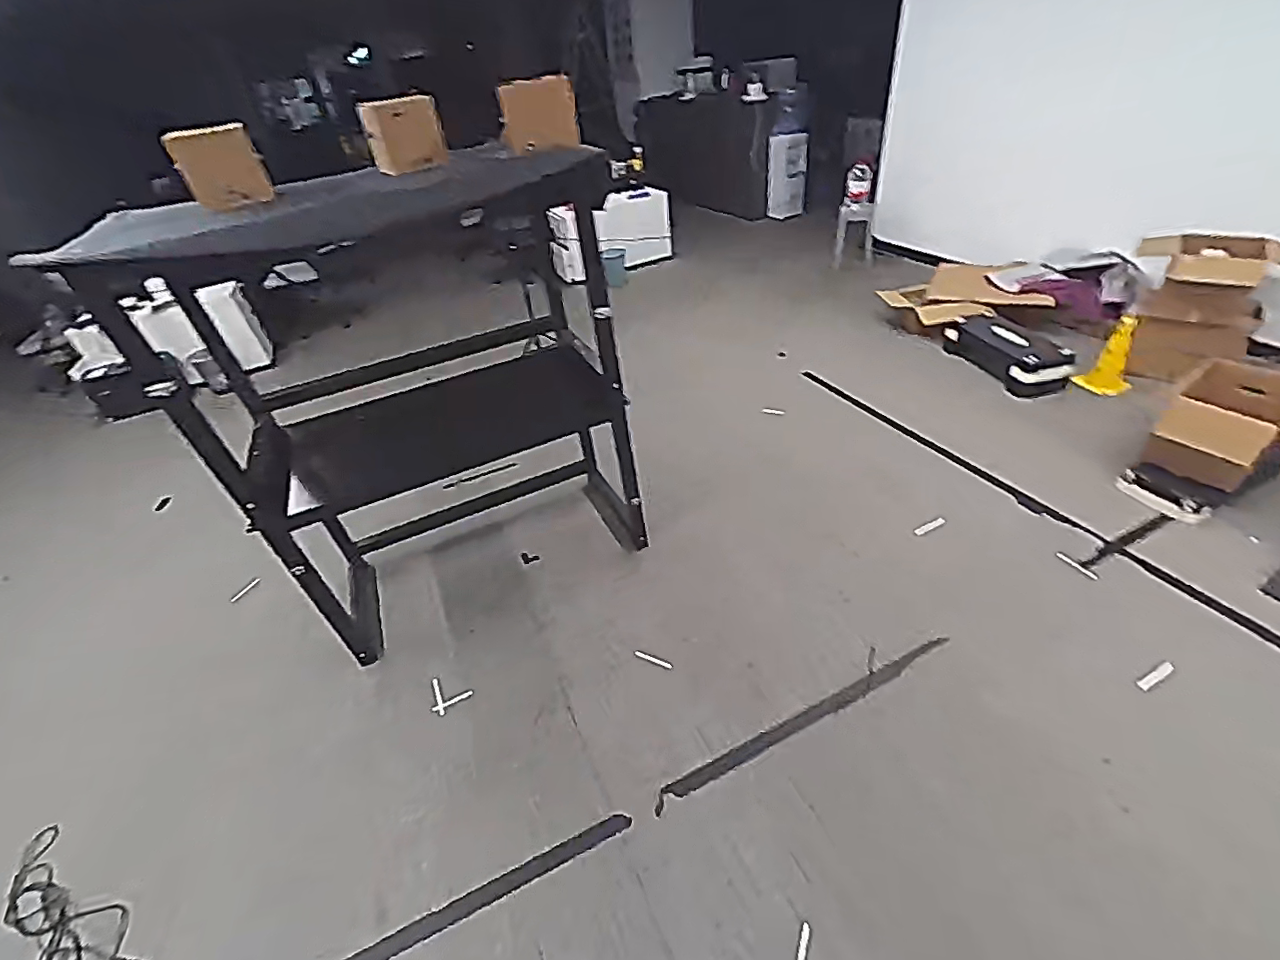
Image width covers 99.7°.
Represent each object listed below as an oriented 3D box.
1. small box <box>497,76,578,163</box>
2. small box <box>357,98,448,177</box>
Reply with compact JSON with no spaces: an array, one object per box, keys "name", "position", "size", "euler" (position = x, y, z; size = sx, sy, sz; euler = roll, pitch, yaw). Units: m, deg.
[{"name":"small box","position":[-0.270,-0.950,1.430],"size":[0.168,0.176,0.179],"euler":[-16,37,-8]},{"name":"small box","position":[-0.677,-0.978,1.548],"size":[0.168,0.176,0.179],"euler":[-28,42,-23]}]
